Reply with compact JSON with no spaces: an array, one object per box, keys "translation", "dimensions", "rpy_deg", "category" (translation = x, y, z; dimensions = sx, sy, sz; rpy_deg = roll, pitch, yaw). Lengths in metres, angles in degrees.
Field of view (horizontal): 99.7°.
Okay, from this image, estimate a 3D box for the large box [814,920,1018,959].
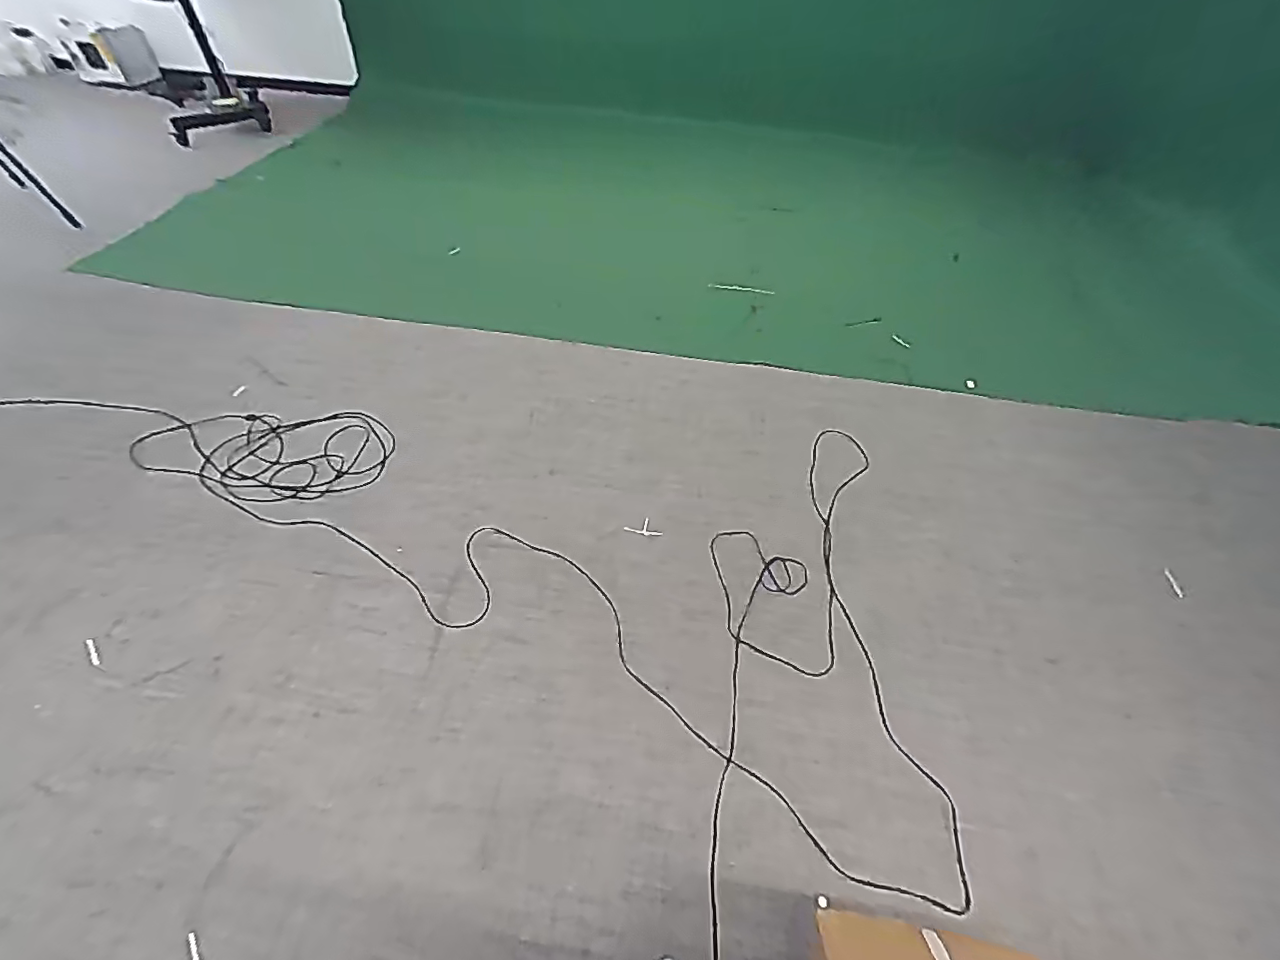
[{"translation":[0.370,0.805,0.580],"dimensions":[0.320,0.408,0.320],"rpy_deg":[7,87,9],"category":"large box"}]
